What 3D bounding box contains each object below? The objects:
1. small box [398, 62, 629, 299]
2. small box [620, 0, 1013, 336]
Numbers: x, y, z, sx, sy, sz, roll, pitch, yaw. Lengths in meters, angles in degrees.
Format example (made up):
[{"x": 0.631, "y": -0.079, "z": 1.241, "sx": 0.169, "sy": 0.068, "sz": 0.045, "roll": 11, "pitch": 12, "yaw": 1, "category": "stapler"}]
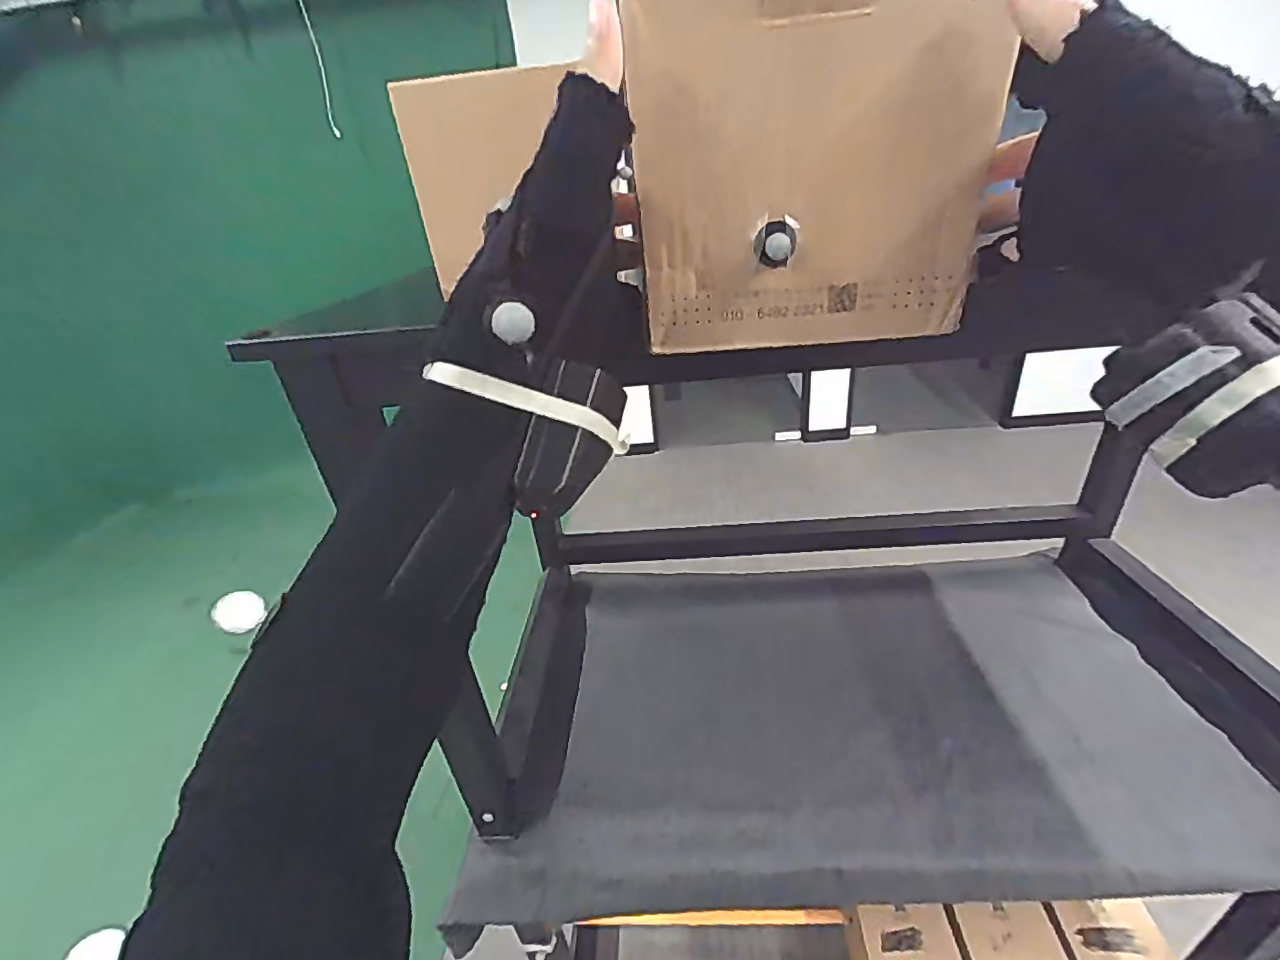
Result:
[{"x": -0.103, "y": -0.281, "z": 0.531, "sx": 0.168, "sy": 0.176, "sz": 0.179, "roll": -6, "pitch": 28, "yaw": 2, "category": "small box"}, {"x": 0.083, "y": -0.195, "z": 0.329, "sx": 0.168, "sy": 0.176, "sz": 0.179, "roll": -3, "pitch": 32, "yaw": 6, "category": "small box"}]
